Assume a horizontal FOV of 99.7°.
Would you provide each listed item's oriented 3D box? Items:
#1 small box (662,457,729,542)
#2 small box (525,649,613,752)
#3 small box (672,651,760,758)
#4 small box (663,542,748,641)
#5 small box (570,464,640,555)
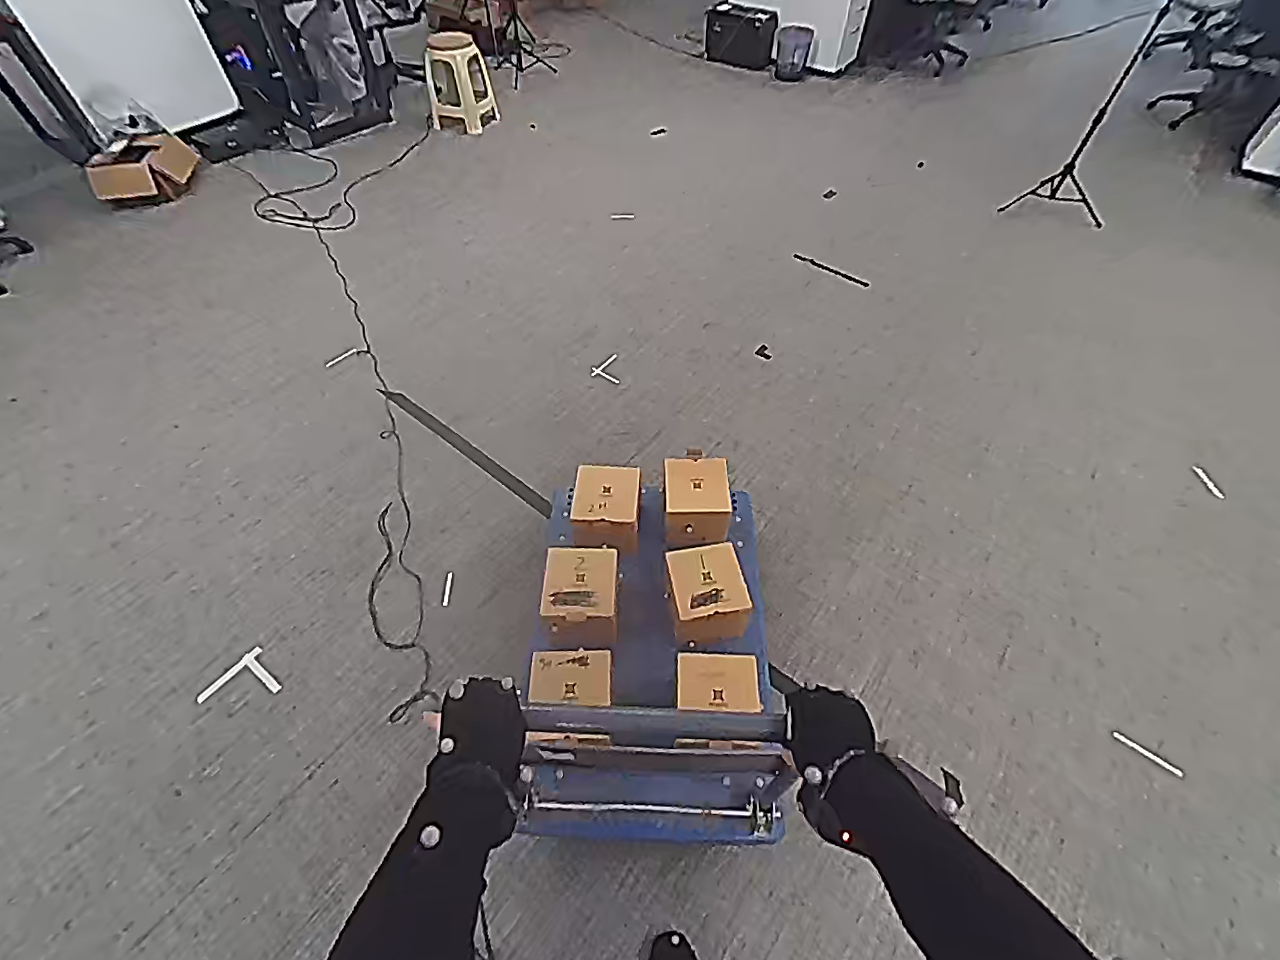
[{"bbox_3d":[0.145,0.058,1.472,0.168,0.176,0.179,-1,53,0],"label":"small box"},{"bbox_3d":[-0.142,0.475,1.153,0.168,0.176,0.179,-1,53,-1],"label":"small box"},{"bbox_3d":[0.155,0.481,1.150,0.168,0.176,0.179,2,52,1],"label":"small box"},{"bbox_3d":[0.151,0.274,1.306,0.168,0.176,0.179,-8,52,-6],"label":"small box"},{"bbox_3d":[-0.089,0.080,1.453,0.168,0.176,0.179,3,54,3],"label":"small box"}]
